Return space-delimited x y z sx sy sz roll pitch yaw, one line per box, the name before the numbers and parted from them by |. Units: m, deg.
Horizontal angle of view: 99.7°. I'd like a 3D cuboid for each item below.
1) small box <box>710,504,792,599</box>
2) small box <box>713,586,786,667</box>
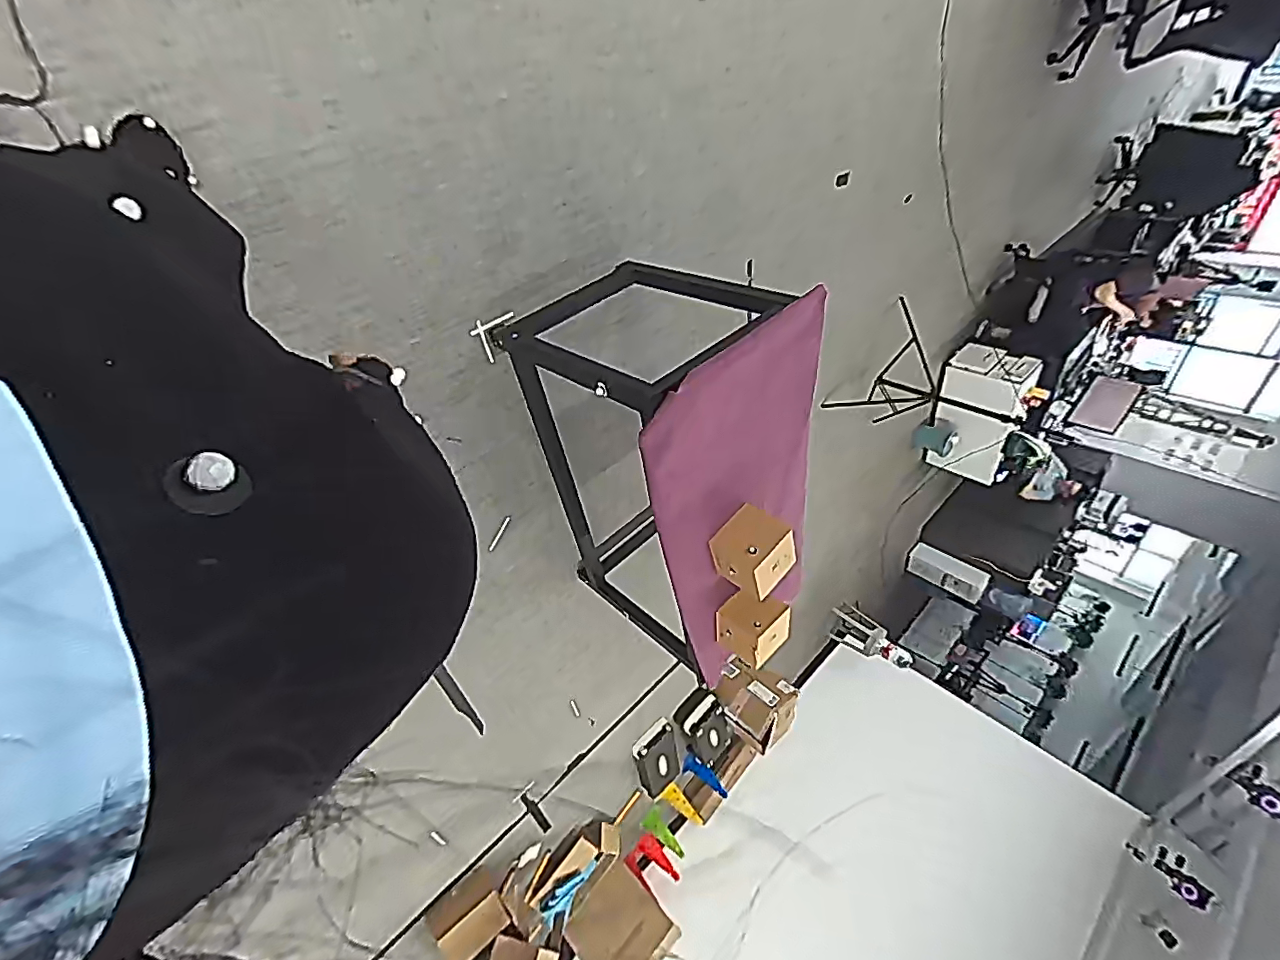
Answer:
small box | 0.319 0.205 1.579 0.179 0.176 0.168 -43 139 -21
small box | 0.361 0.473 1.792 0.179 0.176 0.168 -33 134 -31
